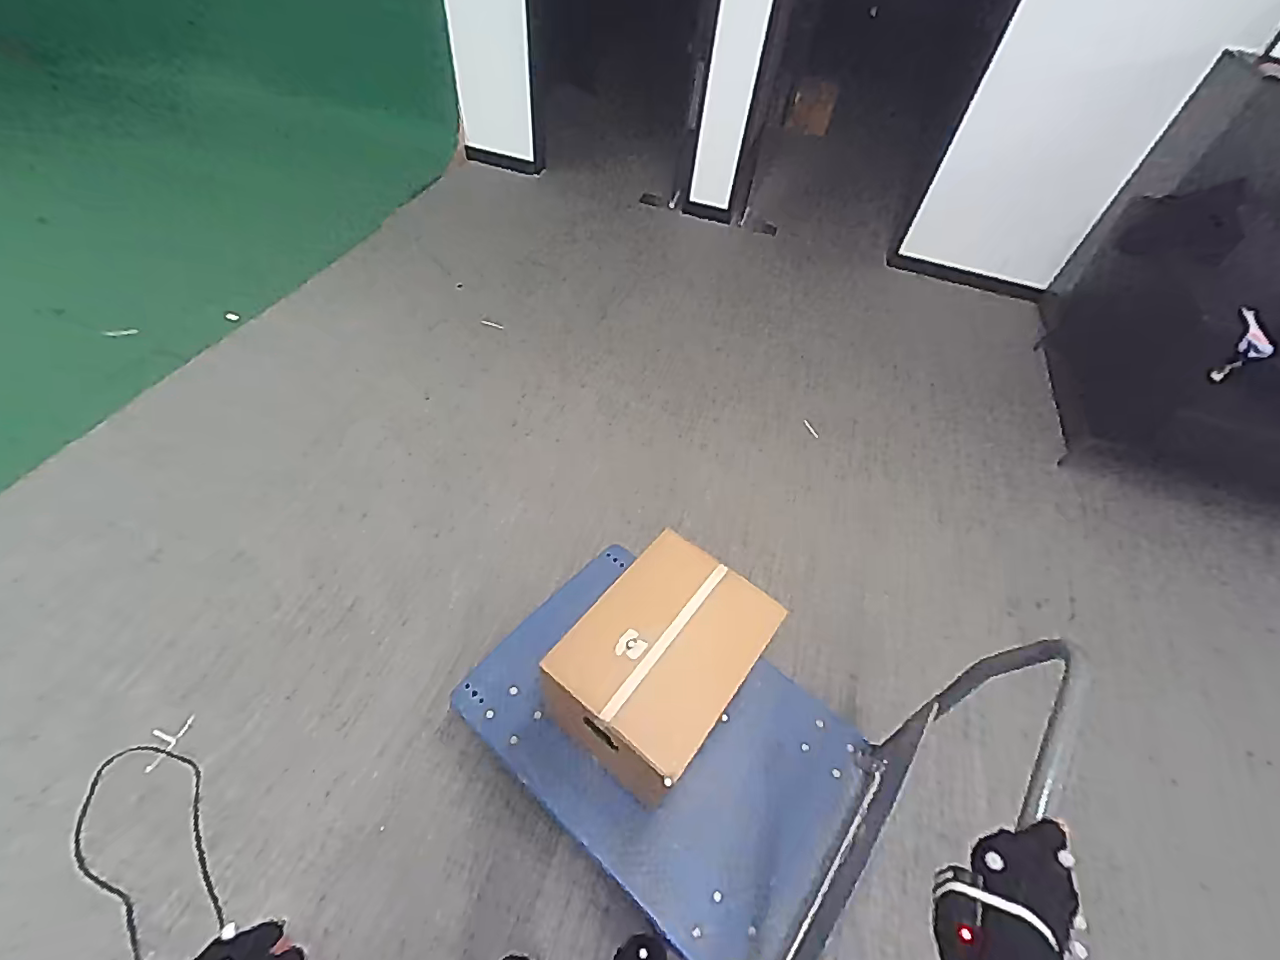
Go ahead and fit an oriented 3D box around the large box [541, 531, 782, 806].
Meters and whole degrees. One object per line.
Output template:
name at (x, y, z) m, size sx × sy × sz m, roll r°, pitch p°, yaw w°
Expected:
large box at (0.041, 0.397, 1.160) m, size 0.320 × 0.320 × 0.408 m, roll 34°, pitch 56°, yaw 20°
